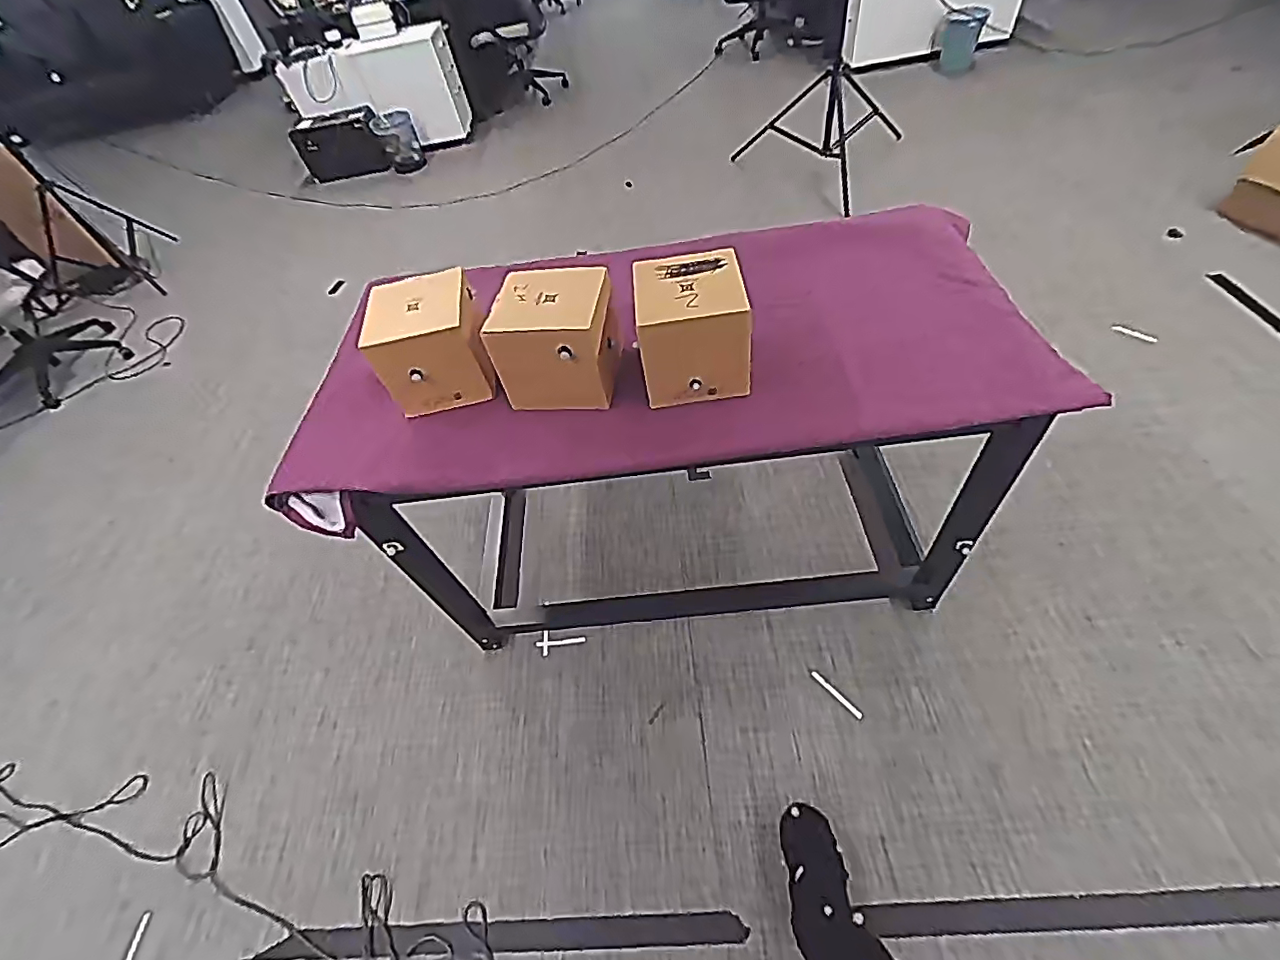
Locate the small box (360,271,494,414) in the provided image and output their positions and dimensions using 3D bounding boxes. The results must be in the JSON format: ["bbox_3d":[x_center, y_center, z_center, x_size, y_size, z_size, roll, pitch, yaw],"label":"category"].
[{"bbox_3d":[-0.367,-0.238,0.966,0.168,0.176,0.179,-14,52,0],"label":"small box"}]
